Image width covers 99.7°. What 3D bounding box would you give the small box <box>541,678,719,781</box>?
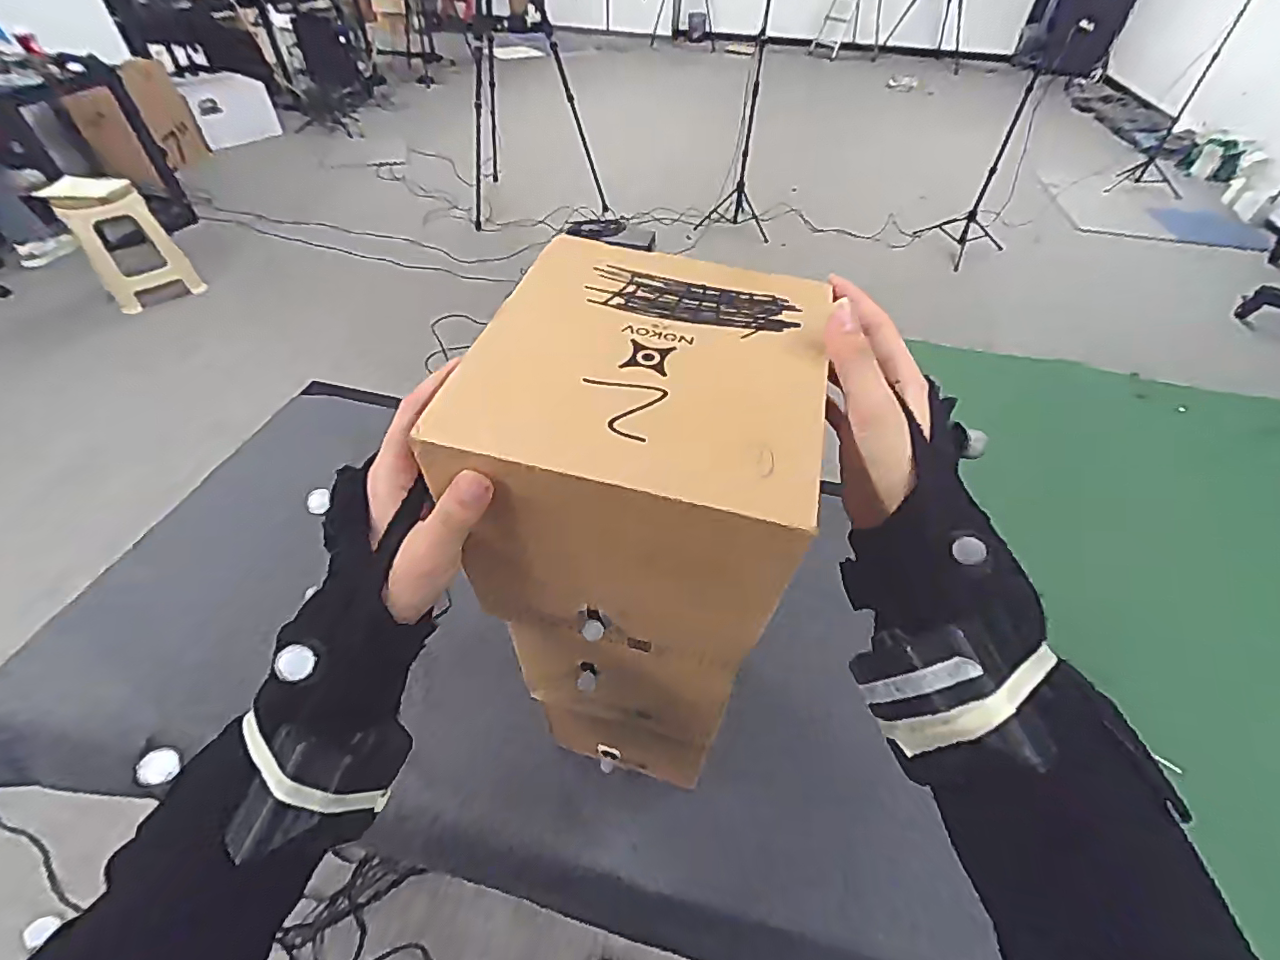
[{"bbox_3d":[0.007,0.195,0.589,0.168,0.176,0.179,11,49,10],"label":"small box"}]

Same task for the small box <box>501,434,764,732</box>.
[{"bbox_3d":[0.005,0.089,0.465,0.168,0.176,0.179,10,47,9],"label":"small box"}]
